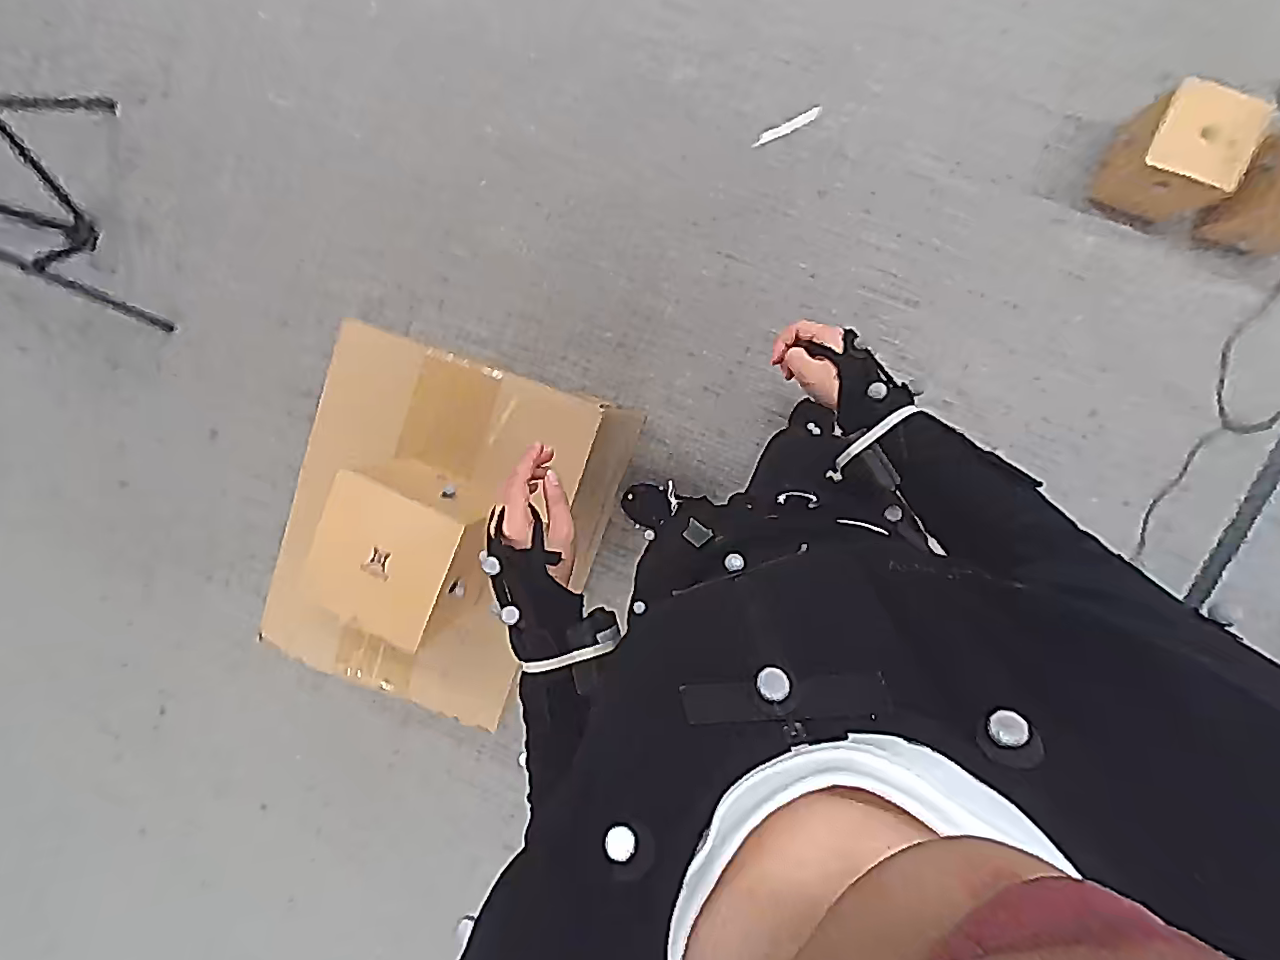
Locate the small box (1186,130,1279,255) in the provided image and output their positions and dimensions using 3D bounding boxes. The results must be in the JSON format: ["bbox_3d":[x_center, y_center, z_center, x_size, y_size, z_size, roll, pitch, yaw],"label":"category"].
[{"bbox_3d":[1.290,-0.587,1.100,0.168,0.176,0.179,20,99,3],"label":"small box"}]

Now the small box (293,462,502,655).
[{"bbox_3d":[-0.300,0.087,0.708,0.168,0.176,0.179,24,99,2],"label":"small box"}]

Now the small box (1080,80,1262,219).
[{"bbox_3d":[1.073,-0.667,1.113,0.179,0.176,0.168,22,99,4],"label":"small box"}]
